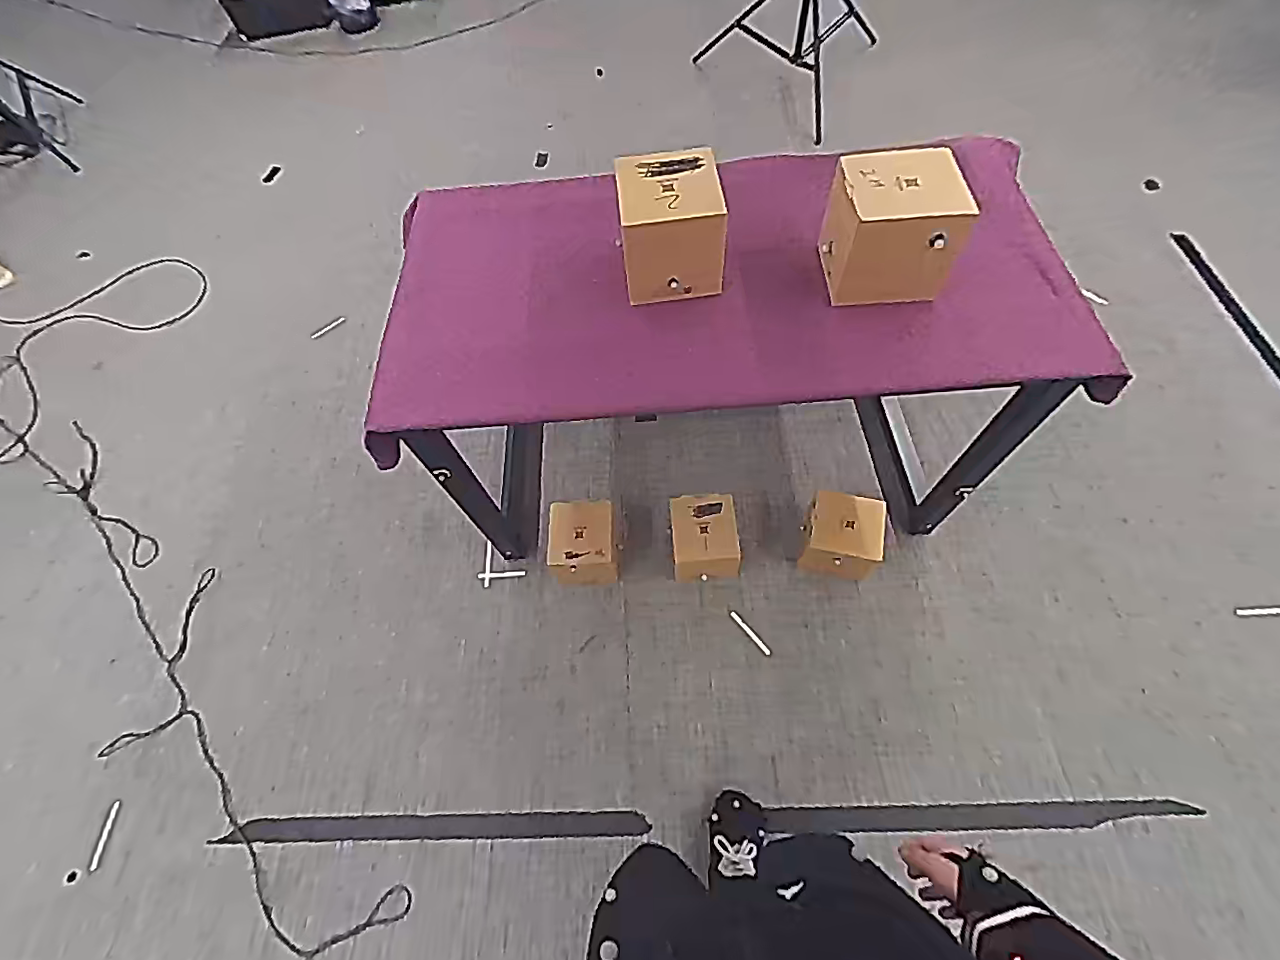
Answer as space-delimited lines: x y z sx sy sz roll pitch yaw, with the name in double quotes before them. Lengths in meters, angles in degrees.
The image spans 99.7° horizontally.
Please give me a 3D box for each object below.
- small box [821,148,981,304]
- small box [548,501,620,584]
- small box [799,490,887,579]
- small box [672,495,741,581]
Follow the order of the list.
"small box" 0.416 -0.413 0.895 0.179 0.176 0.168 -2 61 4
"small box" -0.145 0.172 1.461 0.168 0.176 0.179 -2 60 4
"small box" 0.527 0.148 1.417 0.179 0.176 0.168 11 64 12
"small box" 0.171 0.157 1.441 0.168 0.176 0.179 -5 63 3
